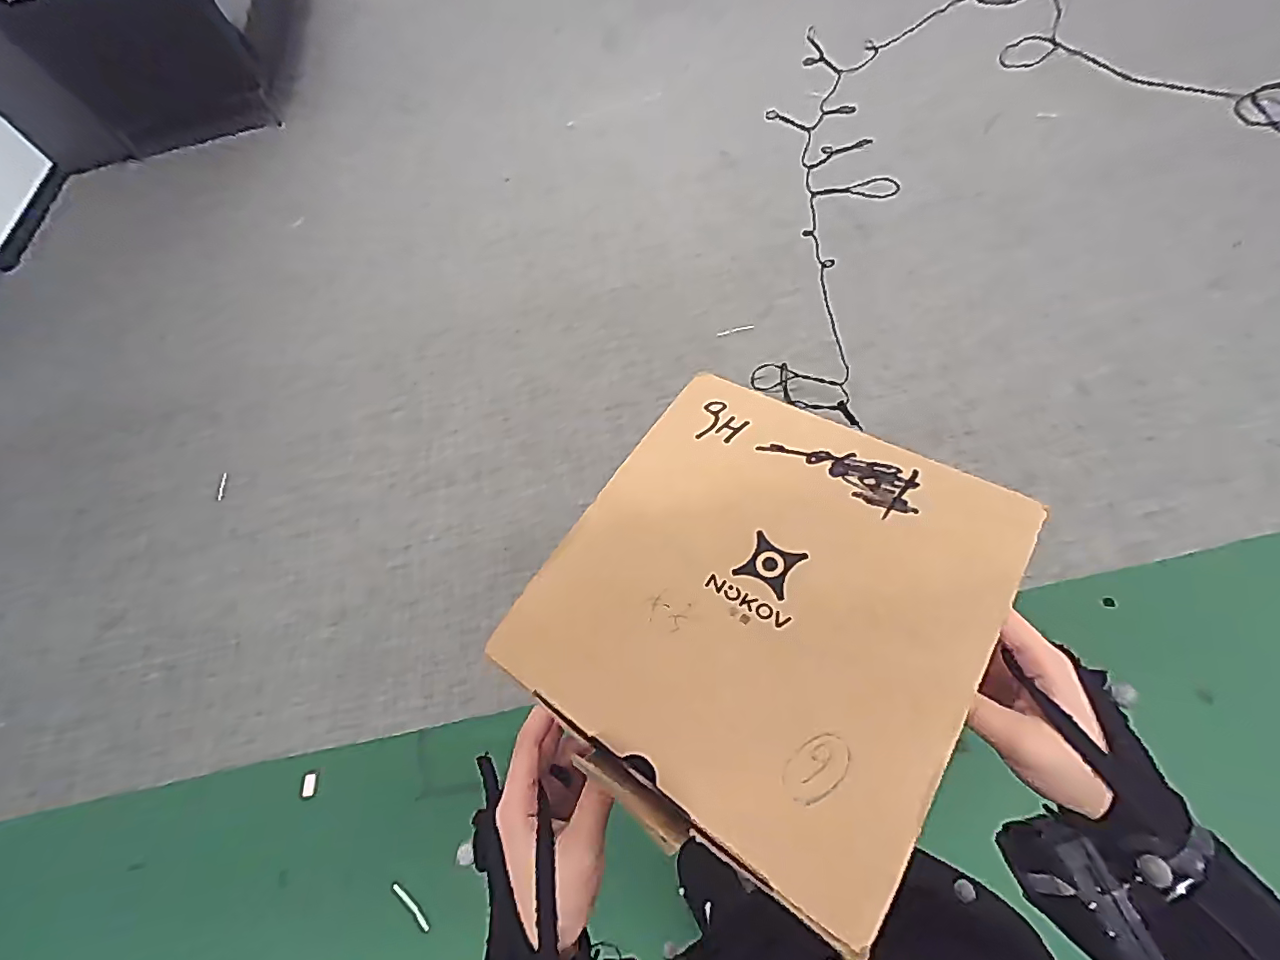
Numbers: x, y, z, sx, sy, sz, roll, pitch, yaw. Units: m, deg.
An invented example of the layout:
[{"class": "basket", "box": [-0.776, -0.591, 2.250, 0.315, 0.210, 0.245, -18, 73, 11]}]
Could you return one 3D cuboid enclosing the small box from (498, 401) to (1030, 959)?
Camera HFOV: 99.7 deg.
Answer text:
[{"class": "small box", "box": [0.064, 0.095, 0.296, 0.168, 0.176, 0.179, 27, 68, 25]}]
